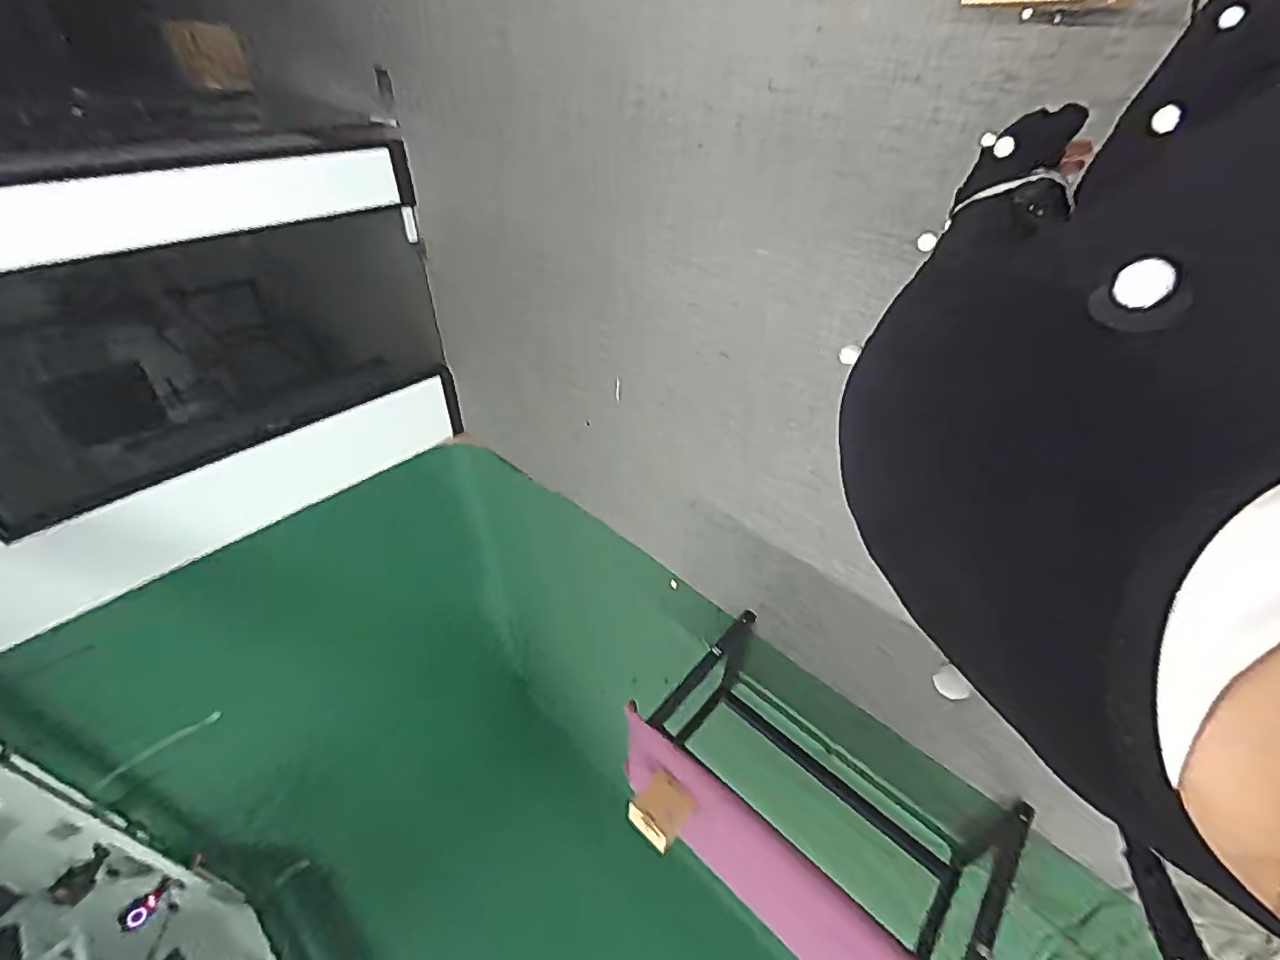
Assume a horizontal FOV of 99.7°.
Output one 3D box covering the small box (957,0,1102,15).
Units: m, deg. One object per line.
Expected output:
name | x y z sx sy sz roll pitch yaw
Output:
small box | 0.609 -0.799 0.793 0.168 0.176 0.179 30 137 31

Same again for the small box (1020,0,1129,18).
small box | 0.727 -0.873 0.880 0.168 0.176 0.179 31 138 31
